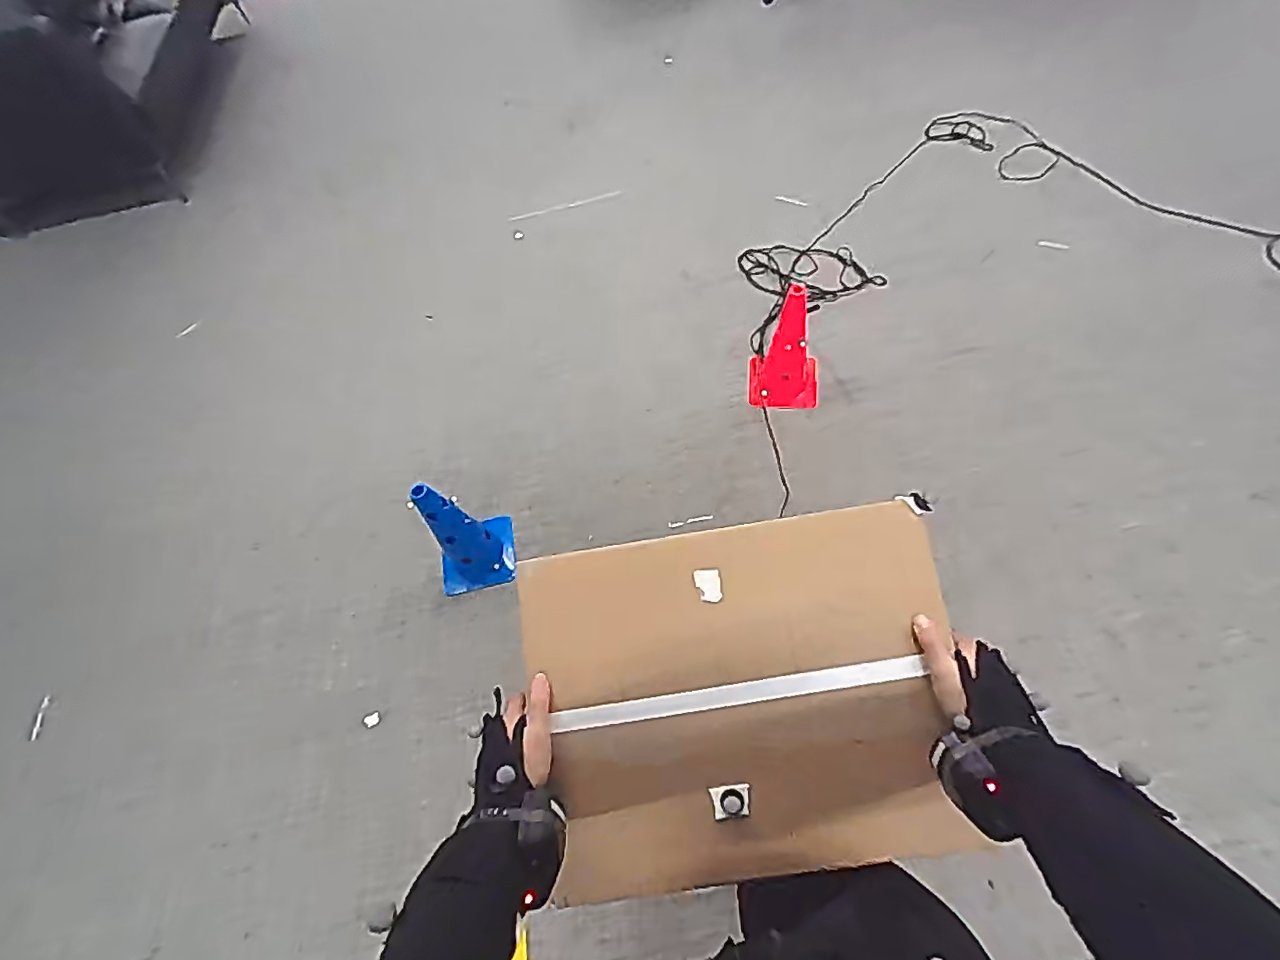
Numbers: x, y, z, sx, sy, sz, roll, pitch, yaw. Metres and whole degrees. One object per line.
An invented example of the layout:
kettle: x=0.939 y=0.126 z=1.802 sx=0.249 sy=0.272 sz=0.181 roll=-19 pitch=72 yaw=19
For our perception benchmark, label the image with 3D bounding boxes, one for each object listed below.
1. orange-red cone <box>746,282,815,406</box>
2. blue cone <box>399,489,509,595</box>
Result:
orange-red cone: x=0.406 y=-0.390 z=1.482 sx=0.199 sy=0.360 sz=0.198 roll=5 pitch=61 yaw=10
blue cone: x=-0.472 y=0.124 z=1.330 sx=0.192 sy=0.380 sz=0.193 roll=-13 pitch=58 yaw=1
